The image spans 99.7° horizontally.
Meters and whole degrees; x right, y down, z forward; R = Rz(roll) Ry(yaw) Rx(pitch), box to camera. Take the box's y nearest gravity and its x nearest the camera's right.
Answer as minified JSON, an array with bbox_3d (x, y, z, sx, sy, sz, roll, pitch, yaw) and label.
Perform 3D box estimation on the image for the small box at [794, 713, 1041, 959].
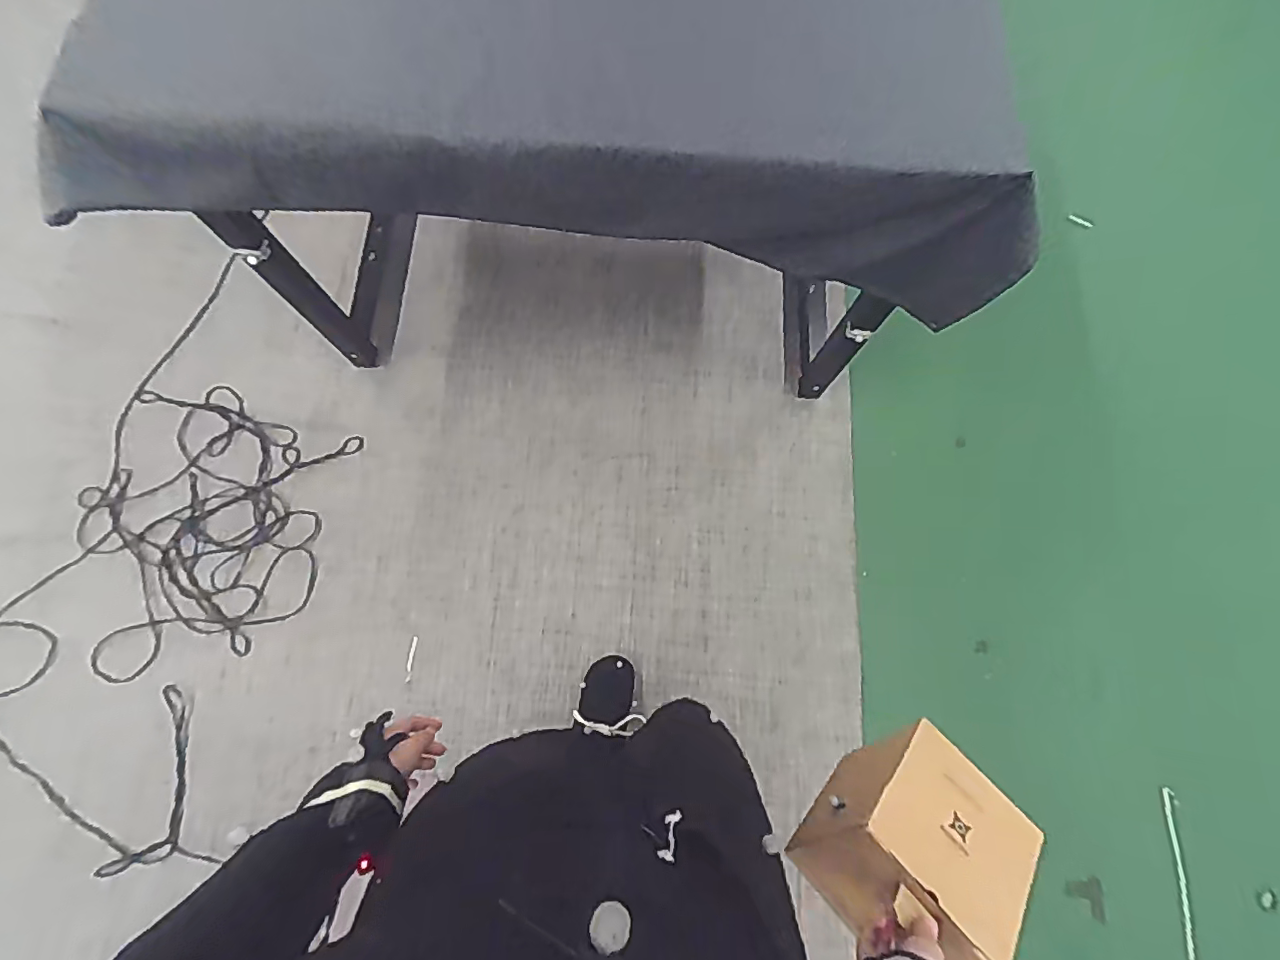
[{"bbox_3d":[0.307,0.415,0.625,0.179,0.176,0.168,-28,67,-41],"label":"small box"}]
